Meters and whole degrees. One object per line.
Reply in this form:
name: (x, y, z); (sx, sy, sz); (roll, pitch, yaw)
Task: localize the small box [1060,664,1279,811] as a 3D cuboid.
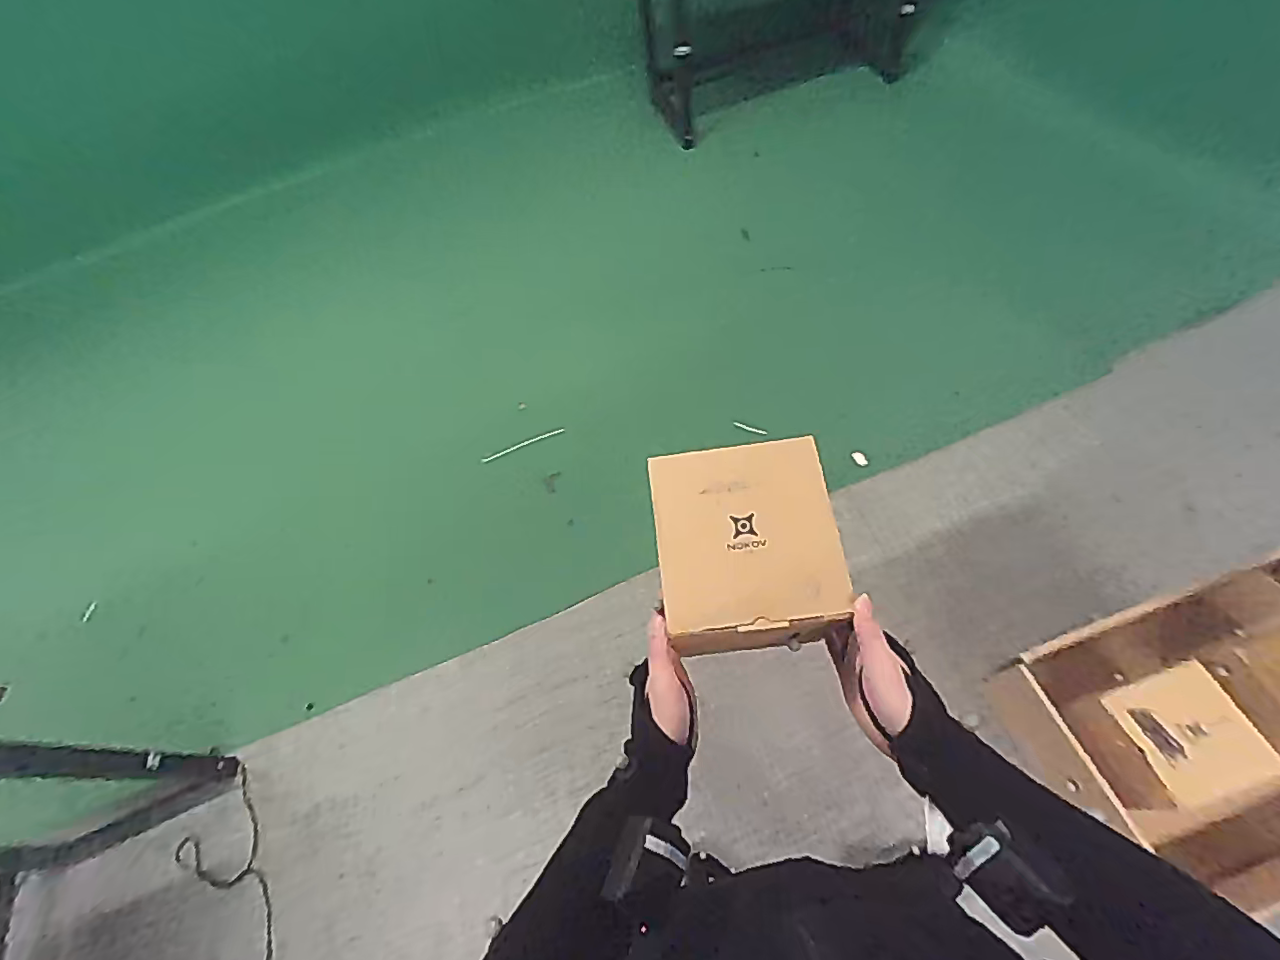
small box: (0.840, 0.424, 0.883); (0.179, 0.176, 0.168); (-18, 59, -3)

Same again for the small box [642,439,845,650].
small box: (0.098, 0.079, 0.571); (0.168, 0.176, 0.179); (-7, 65, 3)

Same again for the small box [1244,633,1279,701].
small box: (1.042, 0.270, 0.754); (0.179, 0.176, 0.168); (-20, 59, -1)
